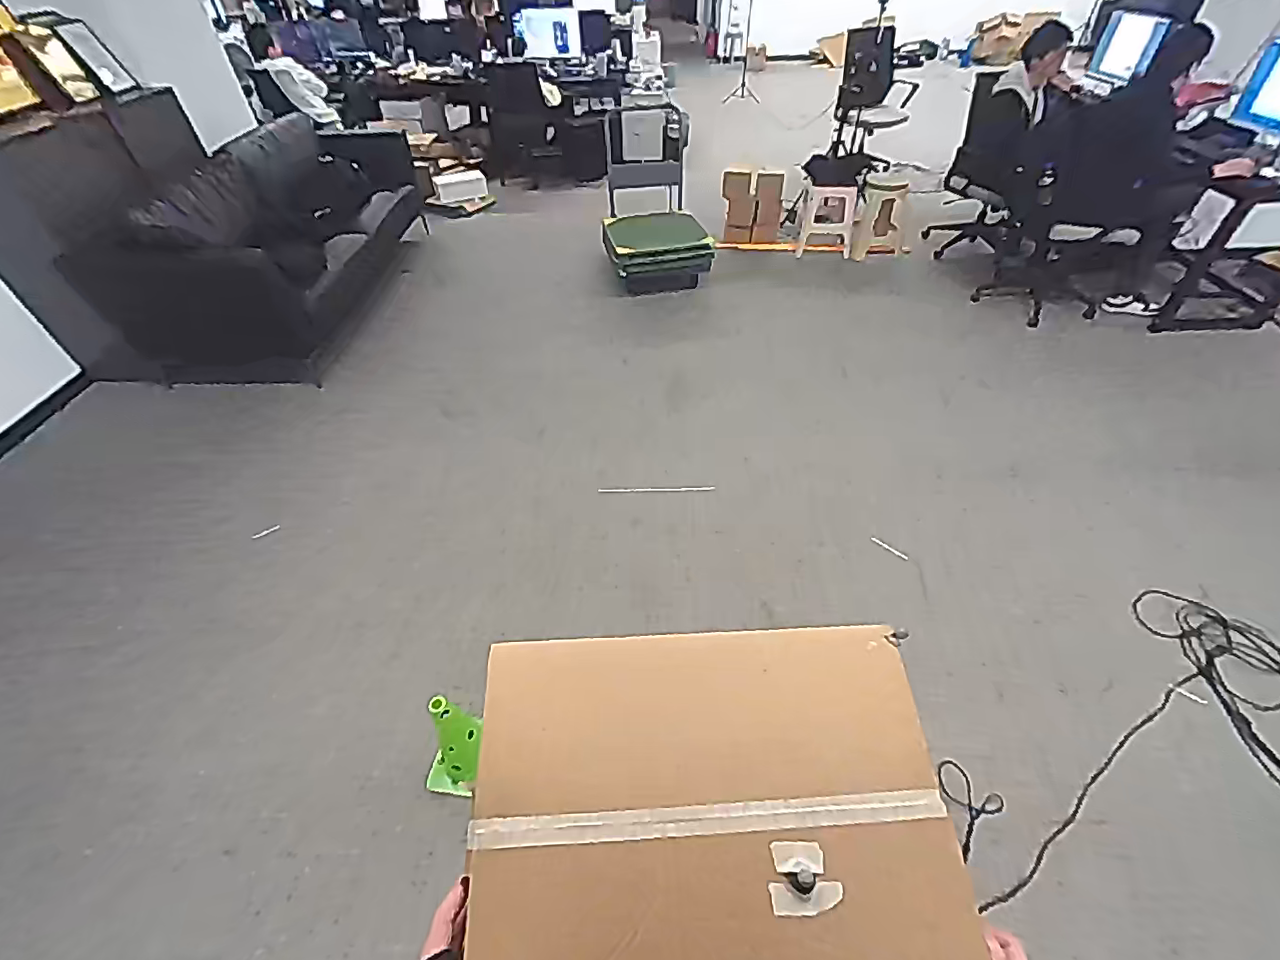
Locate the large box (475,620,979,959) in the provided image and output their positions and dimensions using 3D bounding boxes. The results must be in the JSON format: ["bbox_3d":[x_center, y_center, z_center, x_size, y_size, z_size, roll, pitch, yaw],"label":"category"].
[{"bbox_3d":[0.057,0.364,0.604,0.408,0.320,0.320,-2,60,-3],"label":"large box"}]

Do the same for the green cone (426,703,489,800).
[{"bbox_3d":[-0.480,0.660,1.395,0.200,0.368,0.202,4,46,6],"label":"green cone"}]
